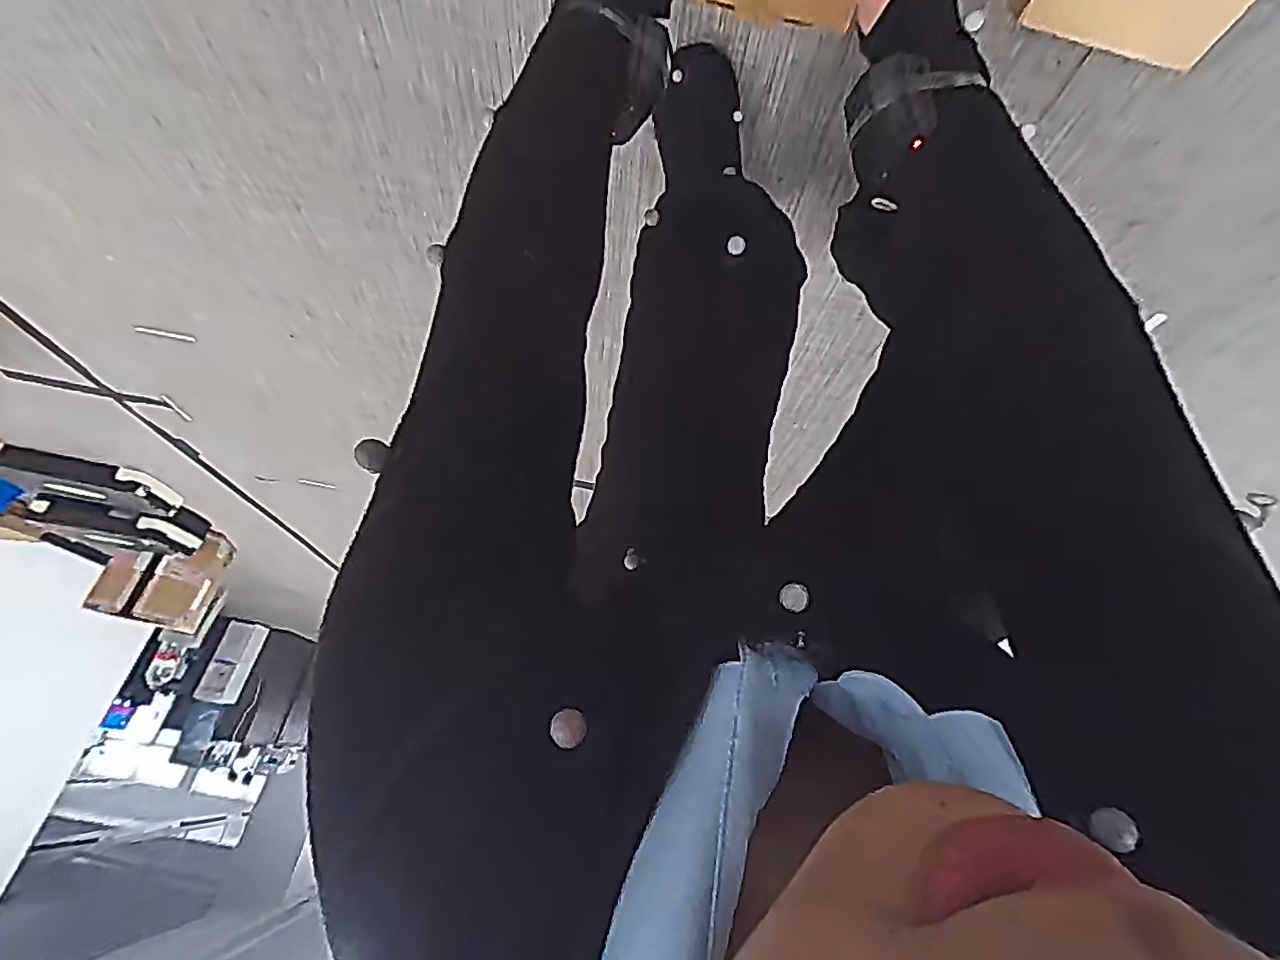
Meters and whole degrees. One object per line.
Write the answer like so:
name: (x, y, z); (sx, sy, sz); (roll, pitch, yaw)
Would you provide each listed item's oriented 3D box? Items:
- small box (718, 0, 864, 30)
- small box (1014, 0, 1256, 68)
small box: (0.135, -0.532, 0.450); (0.168, 0.176, 0.179); (11, 152, -2)
small box: (0.430, -0.486, 0.431); (0.168, 0.176, 0.179); (12, 151, -5)
